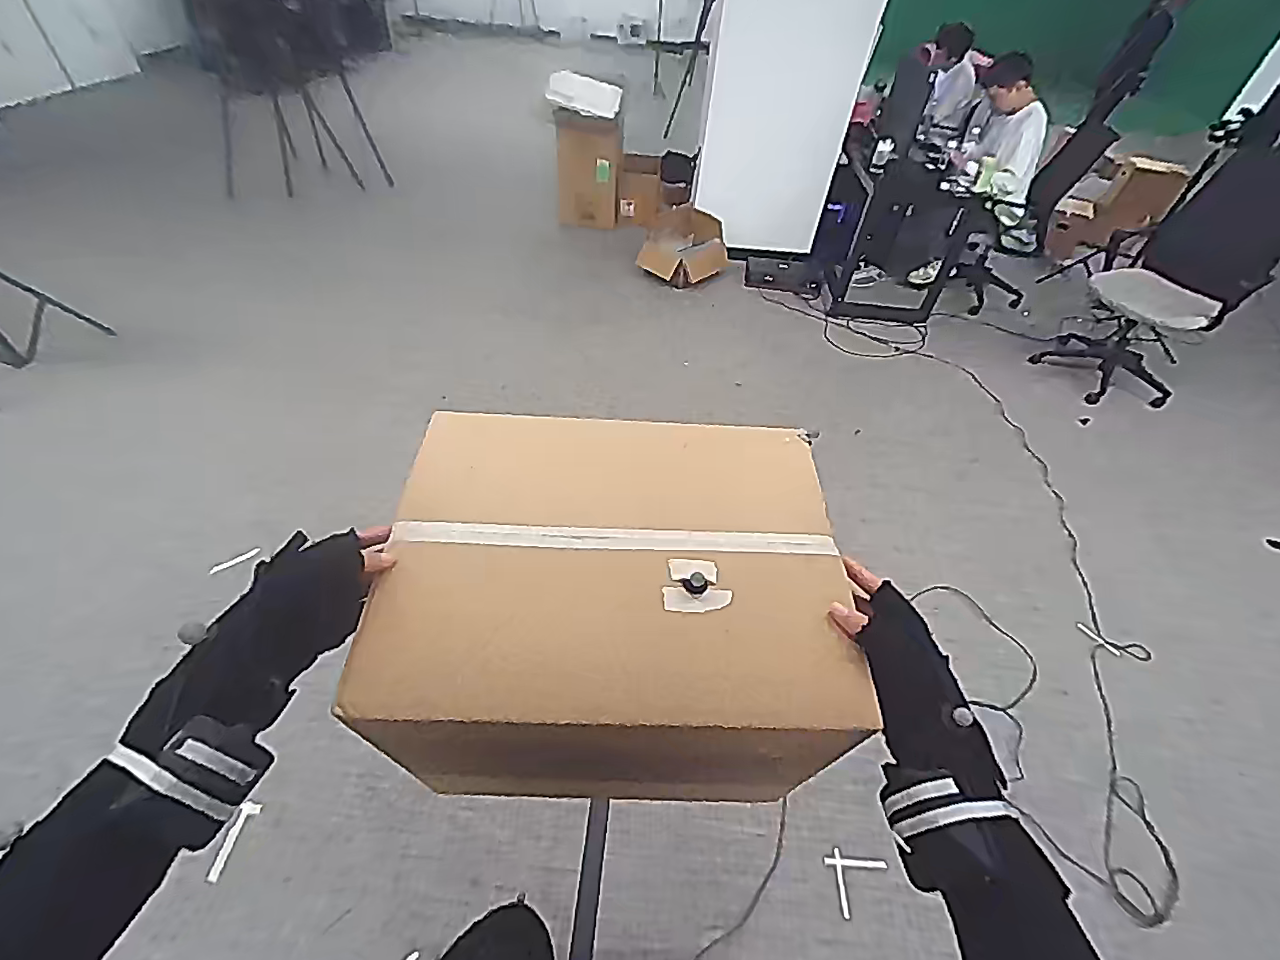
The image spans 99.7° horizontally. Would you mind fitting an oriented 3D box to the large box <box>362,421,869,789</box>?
[{"bbox_3d":[-0.026,0.154,0.624,0.408,0.320,0.320,3,51,-3],"label":"large box"}]
